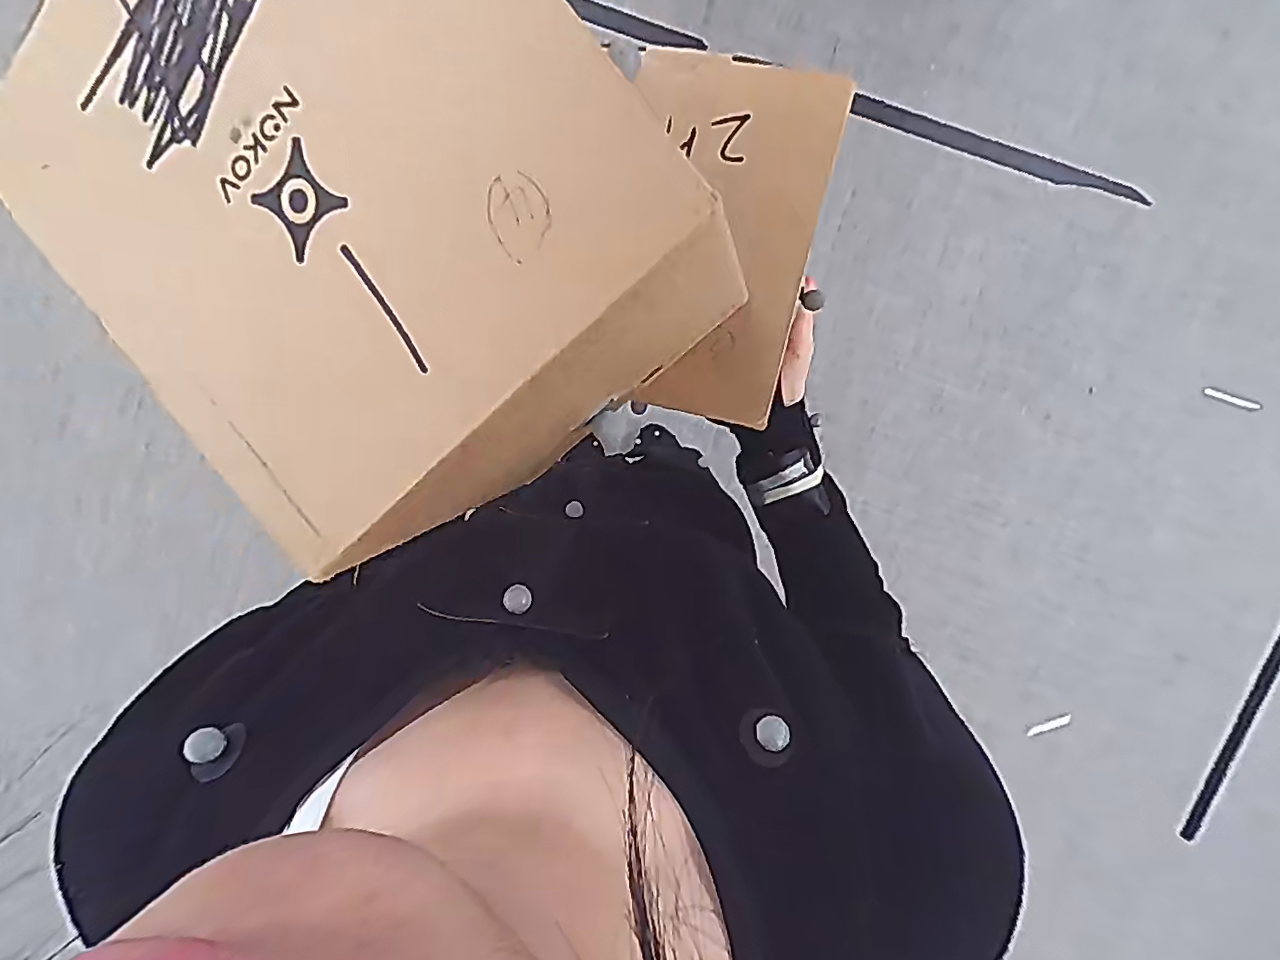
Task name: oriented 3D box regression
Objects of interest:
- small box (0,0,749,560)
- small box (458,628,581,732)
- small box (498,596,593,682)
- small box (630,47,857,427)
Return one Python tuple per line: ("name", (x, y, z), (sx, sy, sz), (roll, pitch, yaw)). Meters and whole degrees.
("small box", (-0.071, -0.101, 0.225), (0.168, 0.176, 0.179), (-38, 91, 17))
("small box", (-0.196, 0.353, 0.826), (0.168, 0.176, 0.179), (20, 98, -2))
("small box", (-0.192, 0.336, 0.988), (0.168, 0.176, 0.179), (22, 96, -2))
("small box", (0.028, -0.144, 0.365), (0.168, 0.176, 0.179), (14, 102, 10))
